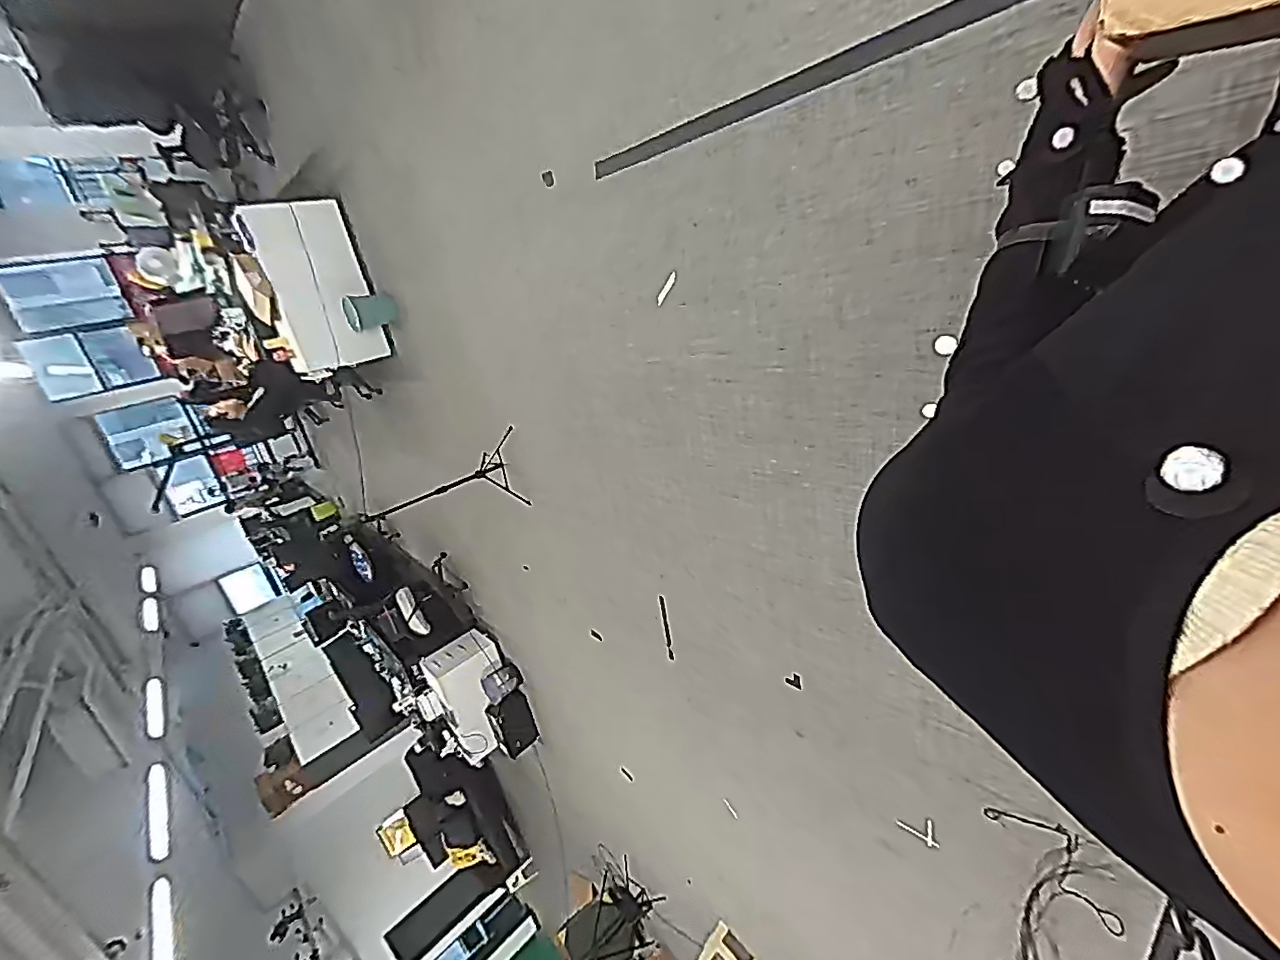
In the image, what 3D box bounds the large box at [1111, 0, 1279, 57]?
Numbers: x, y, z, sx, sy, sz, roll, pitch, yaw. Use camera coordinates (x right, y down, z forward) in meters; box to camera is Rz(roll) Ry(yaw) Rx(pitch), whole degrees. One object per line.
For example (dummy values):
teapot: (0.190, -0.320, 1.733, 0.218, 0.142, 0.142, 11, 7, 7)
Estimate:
large box: (0.404, -0.347, 0.123, 0.408, 0.320, 0.320, 14, 127, 37)
